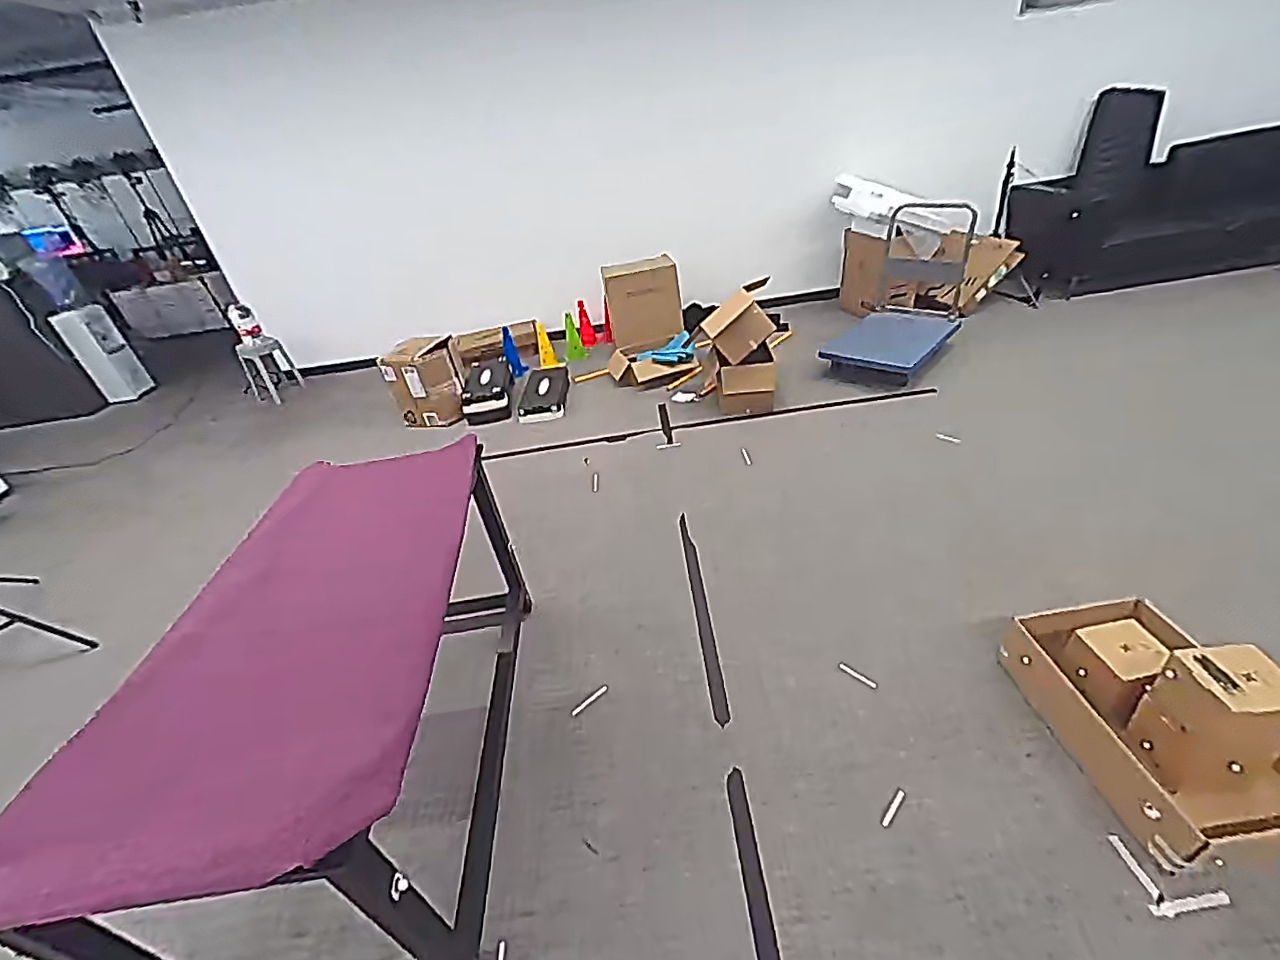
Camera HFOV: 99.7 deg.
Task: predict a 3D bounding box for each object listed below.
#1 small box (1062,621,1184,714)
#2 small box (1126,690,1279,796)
[{"bbox_3d":[1.311,0.519,1.489,0.179,0.176,0.168,-10,35,-1],"label":"small box"},{"bbox_3d":[1.349,0.638,1.312,0.179,0.176,0.168,-7,32,4],"label":"small box"}]
